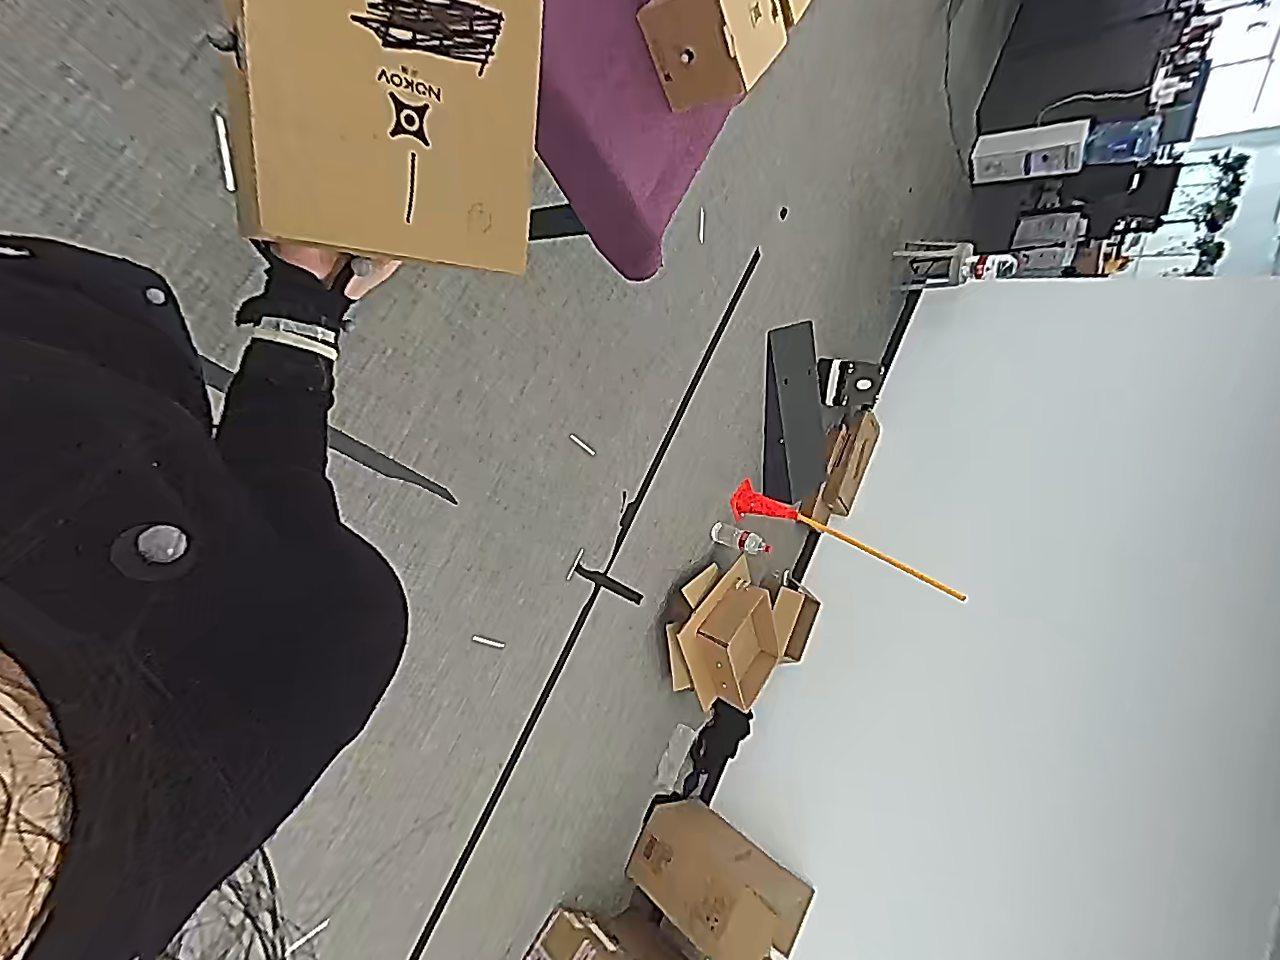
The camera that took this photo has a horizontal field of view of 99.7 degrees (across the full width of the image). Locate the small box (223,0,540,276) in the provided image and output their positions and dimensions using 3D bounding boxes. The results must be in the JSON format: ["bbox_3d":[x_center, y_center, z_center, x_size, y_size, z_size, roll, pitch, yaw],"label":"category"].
[{"bbox_3d":[-0.189,-0.255,0.393,0.168,0.176,0.179,-7,114,-38],"label":"small box"}]

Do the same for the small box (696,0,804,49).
[{"bbox_3d":[0.212,-0.969,1.018,0.168,0.176,0.179,45,68,-48],"label":"small box"}]
